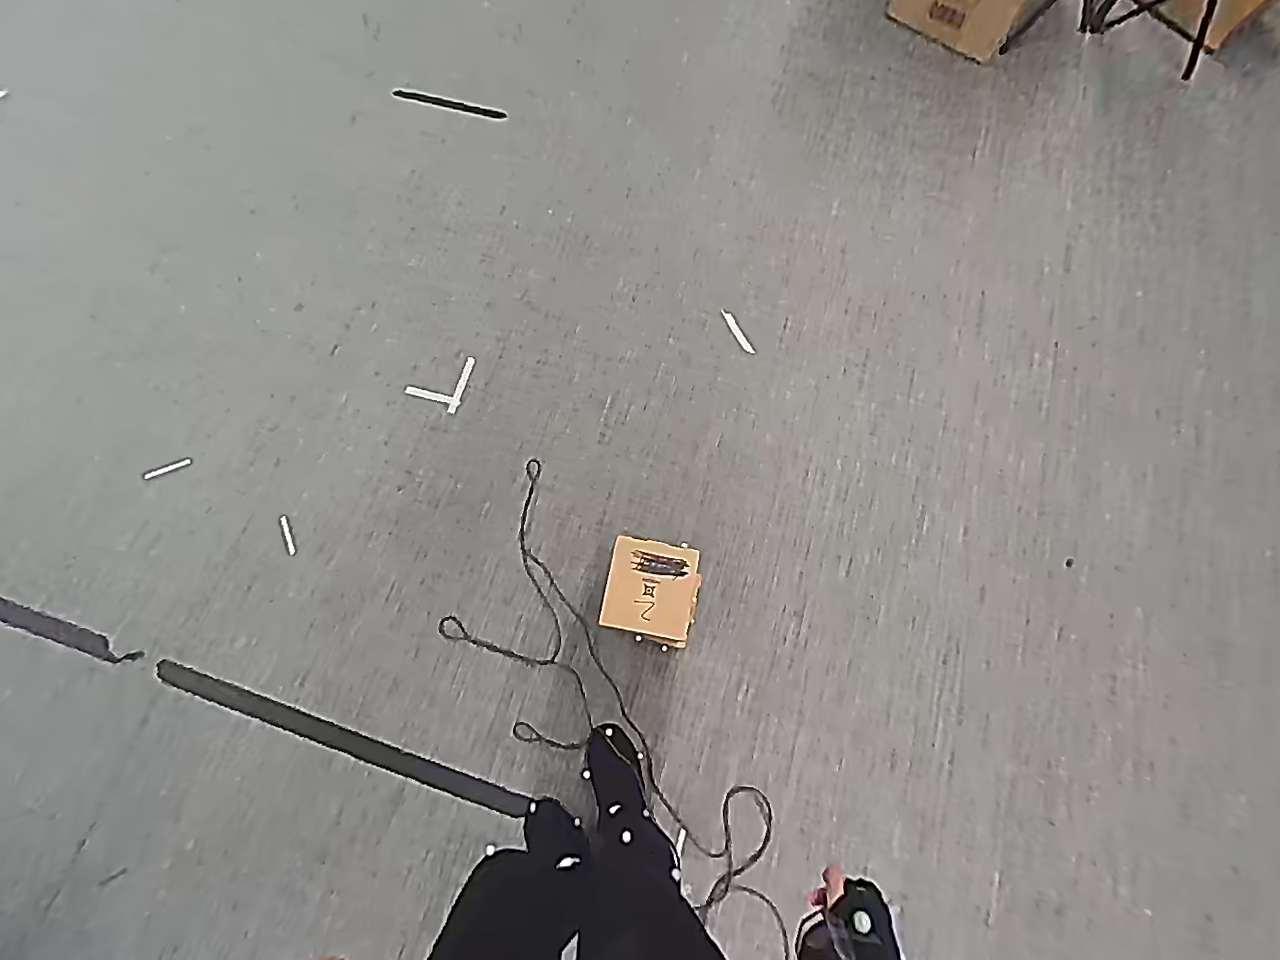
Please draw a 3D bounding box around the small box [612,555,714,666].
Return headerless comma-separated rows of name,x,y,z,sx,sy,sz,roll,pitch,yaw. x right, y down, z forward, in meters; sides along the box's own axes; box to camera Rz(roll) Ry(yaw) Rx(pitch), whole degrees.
small box,0.052,0.293,1.205,0.168,0.176,0.179,20,55,-13
